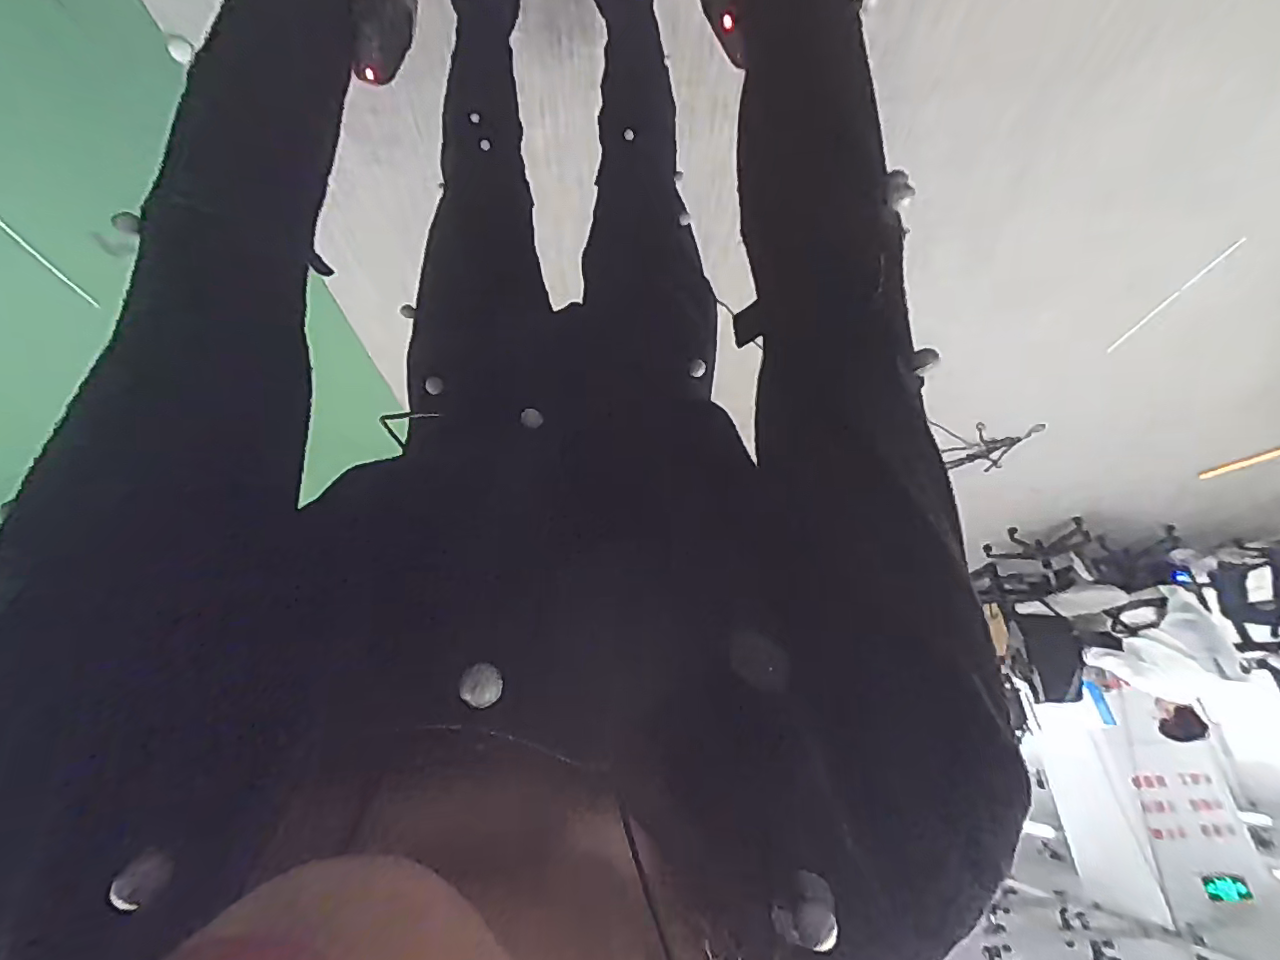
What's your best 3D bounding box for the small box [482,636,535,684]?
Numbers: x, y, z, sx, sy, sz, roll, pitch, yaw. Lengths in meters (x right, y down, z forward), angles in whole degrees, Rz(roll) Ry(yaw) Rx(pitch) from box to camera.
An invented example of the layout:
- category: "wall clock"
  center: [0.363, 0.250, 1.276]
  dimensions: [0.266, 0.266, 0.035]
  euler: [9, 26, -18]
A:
- category: "small box"
  center: [-0.518, 0.723, 2.156]
  dimensions: [0.179, 0.176, 0.168]
  euler: [-1, 154, -3]
